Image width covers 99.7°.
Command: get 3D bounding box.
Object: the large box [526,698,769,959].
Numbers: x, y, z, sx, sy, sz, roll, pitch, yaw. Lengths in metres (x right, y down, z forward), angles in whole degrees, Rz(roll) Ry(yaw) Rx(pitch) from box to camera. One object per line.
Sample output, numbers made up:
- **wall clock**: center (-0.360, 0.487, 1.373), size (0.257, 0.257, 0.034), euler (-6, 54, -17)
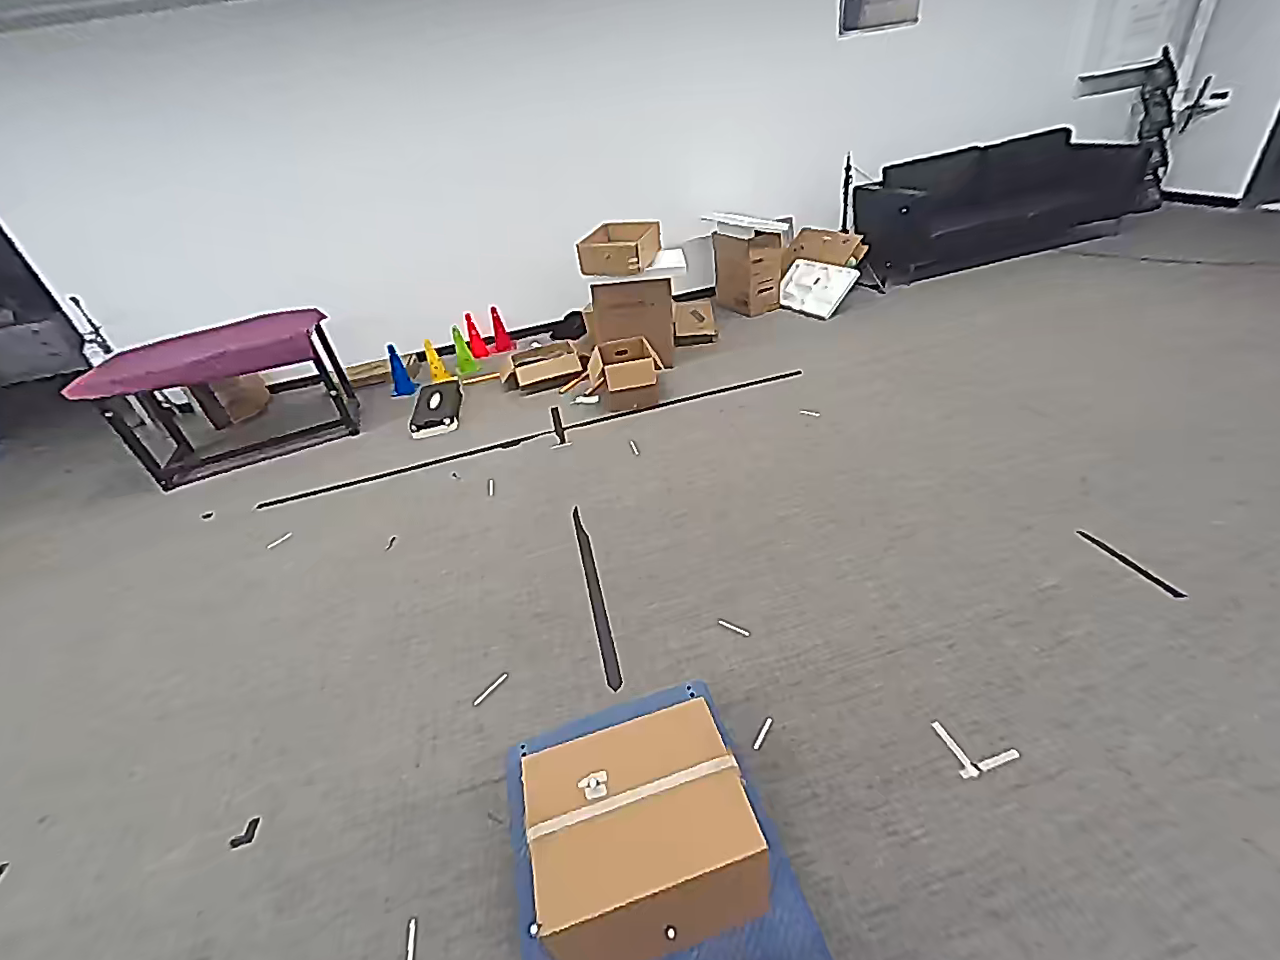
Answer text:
- **large box**: center (0.015, 0.730, 1.116), size (0.408, 0.320, 0.320), euler (-17, 34, -8)
